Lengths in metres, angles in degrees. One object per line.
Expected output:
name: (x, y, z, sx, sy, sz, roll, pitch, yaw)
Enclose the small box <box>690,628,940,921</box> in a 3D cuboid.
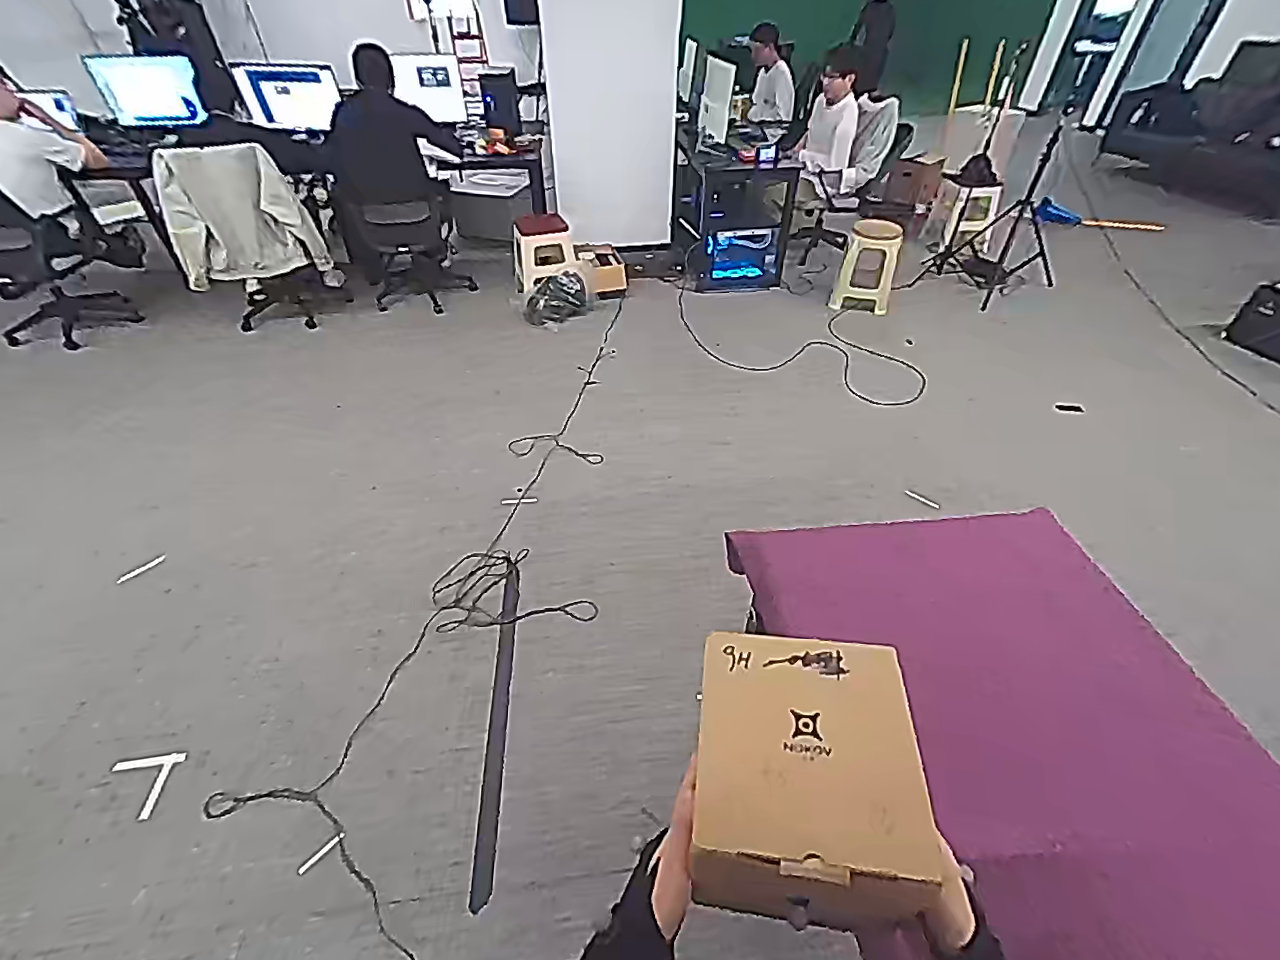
small box: (0.134, 0.256, 0.474, 0.168, 0.176, 0.179, 3, 43, 9)
